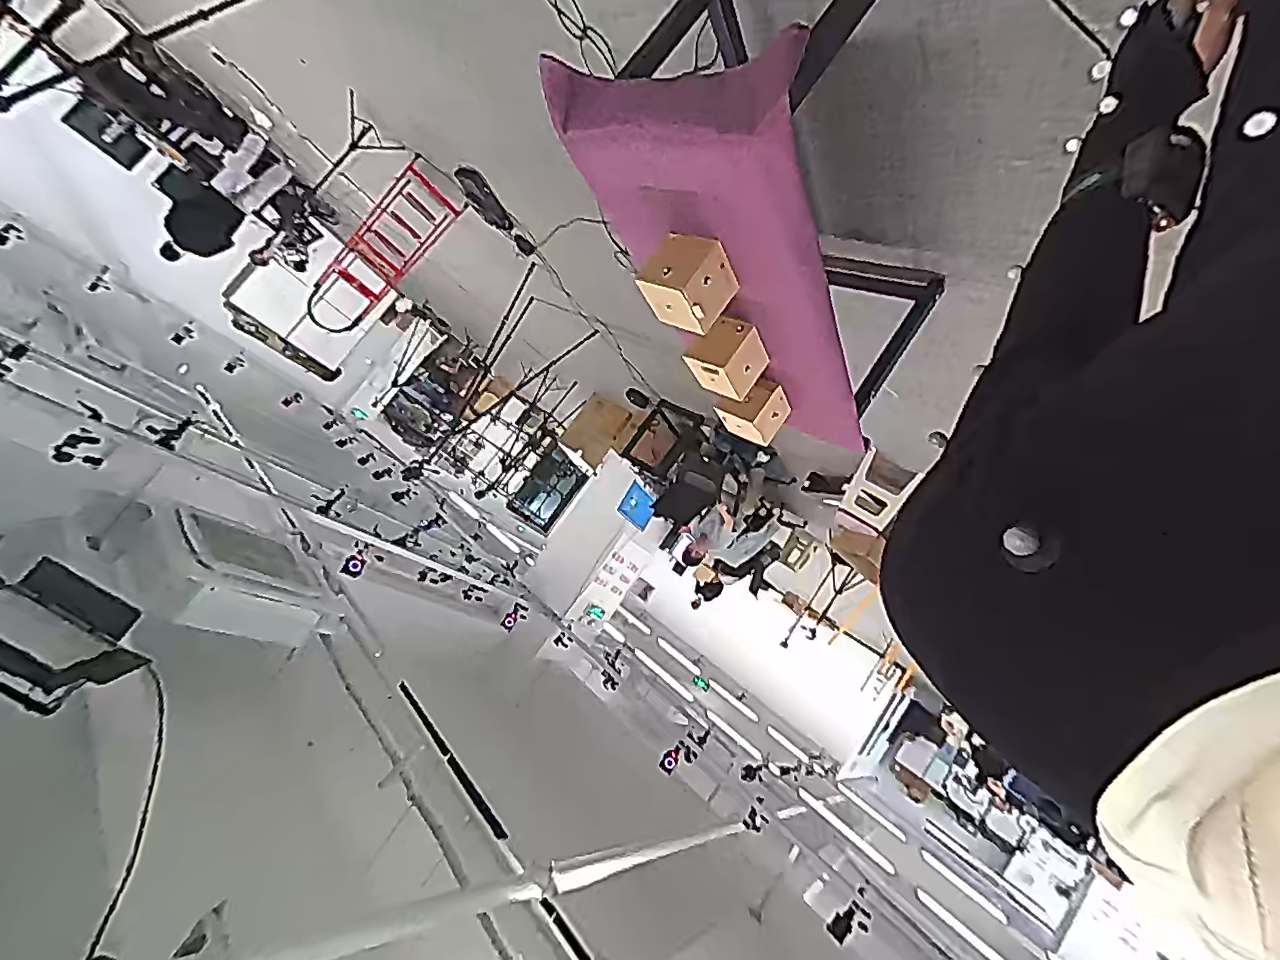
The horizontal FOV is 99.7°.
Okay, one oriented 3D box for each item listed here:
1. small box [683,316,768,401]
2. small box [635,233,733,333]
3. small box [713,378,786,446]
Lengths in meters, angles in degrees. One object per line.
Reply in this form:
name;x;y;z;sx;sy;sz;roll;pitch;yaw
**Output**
small box;0.267;-0.379;1.673;0.168;0.176;0.179;30;172;38
small box;0.125;-0.521;1.423;0.179;0.176;0.168;30;171;37
small box;0.395;-0.252;1.902;0.179;0.176;0.168;29;169;38
